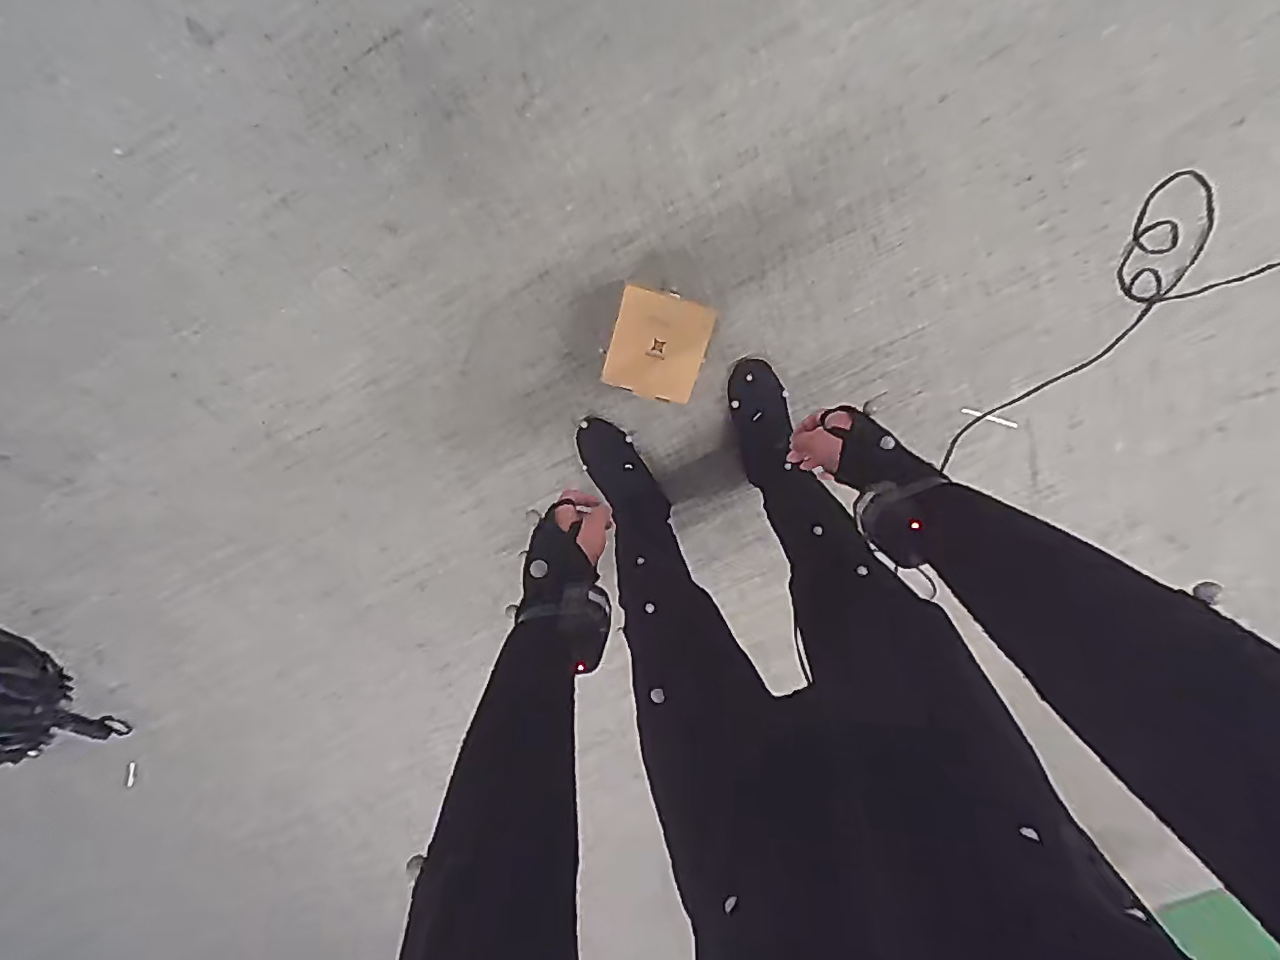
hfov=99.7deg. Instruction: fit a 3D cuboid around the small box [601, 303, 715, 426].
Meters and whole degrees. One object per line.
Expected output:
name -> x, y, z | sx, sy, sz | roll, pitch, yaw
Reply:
small box -> 0.028, -0.225, 1.028 | 0.168, 0.176, 0.179 | 13, 110, -9
